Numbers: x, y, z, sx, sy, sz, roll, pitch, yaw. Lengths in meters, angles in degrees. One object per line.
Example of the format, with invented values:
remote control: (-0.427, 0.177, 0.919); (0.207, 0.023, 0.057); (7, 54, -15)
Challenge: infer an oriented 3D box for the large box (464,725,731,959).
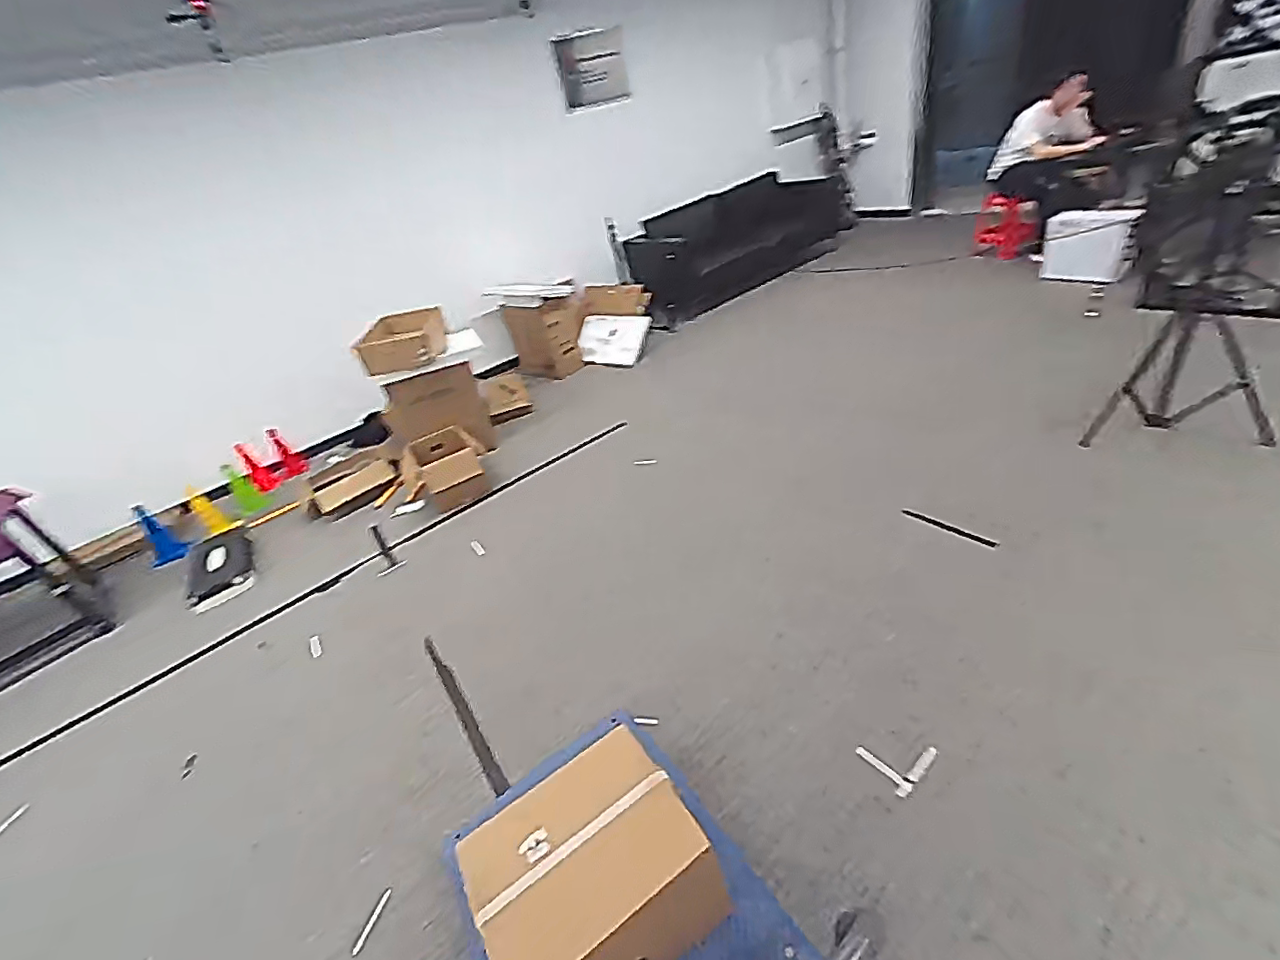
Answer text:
large box: (-0.076, 0.812, 1.108); (0.408, 0.320, 0.320); (-30, 34, -20)
